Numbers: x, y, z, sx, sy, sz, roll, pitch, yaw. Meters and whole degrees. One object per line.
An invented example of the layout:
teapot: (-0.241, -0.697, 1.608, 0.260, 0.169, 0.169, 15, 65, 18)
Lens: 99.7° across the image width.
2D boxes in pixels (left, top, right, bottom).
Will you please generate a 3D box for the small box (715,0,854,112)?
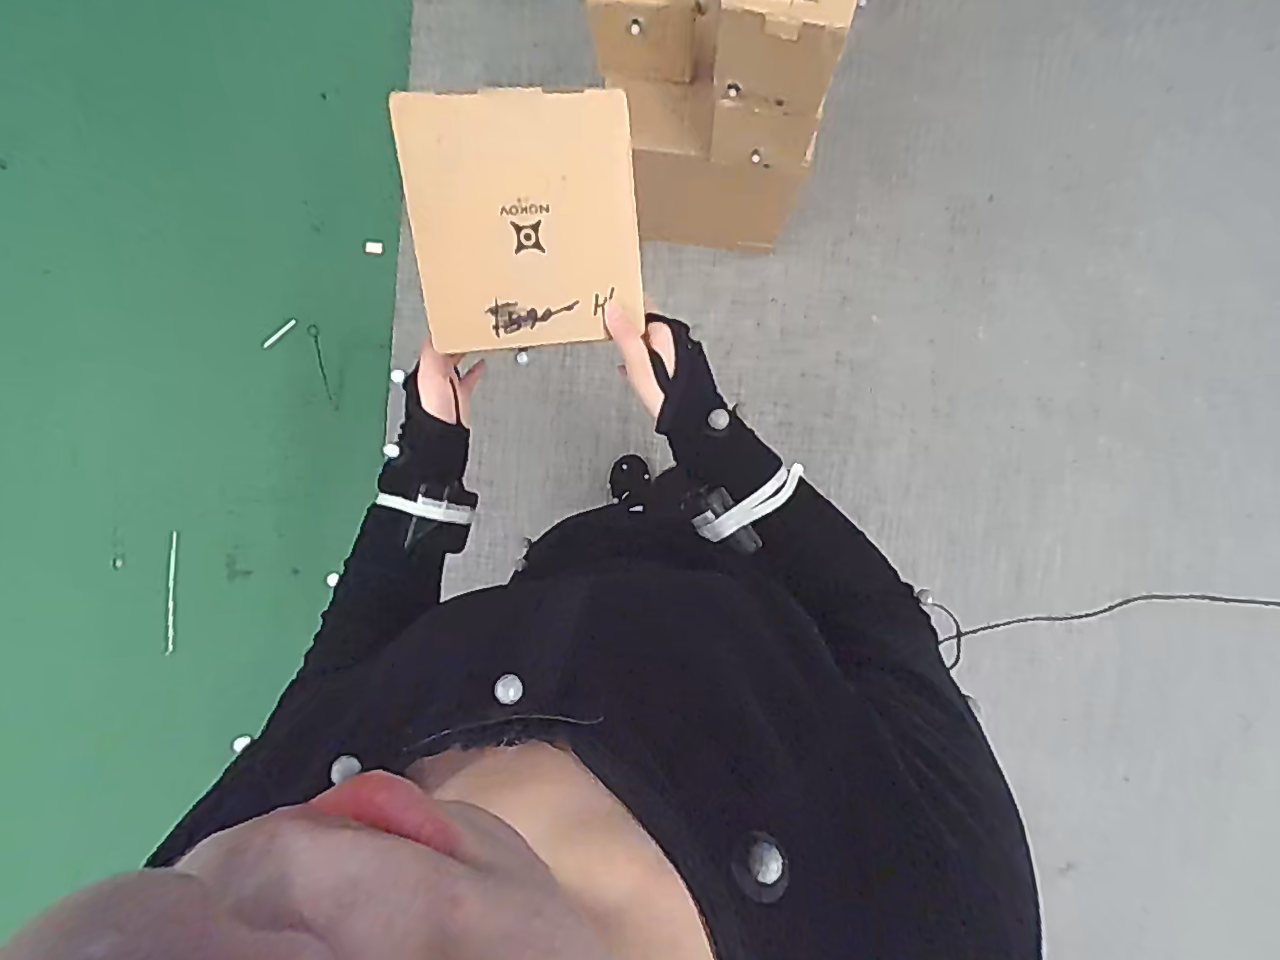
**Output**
small box: (0.203, -0.653, 0.741, 0.168, 0.176, 0.179, 15, 91, 4)

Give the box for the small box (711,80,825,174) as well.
small box: (0.216, -0.654, 0.905, 0.168, 0.176, 0.179, 12, 92, 4)

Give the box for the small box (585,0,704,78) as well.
small box: (0.016, -0.822, 0.914, 0.179, 0.176, 0.168, 9, 92, 5)

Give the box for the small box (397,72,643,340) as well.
small box: (-0.095, -0.220, 0.476, 0.168, 0.176, 0.179, -6, 104, -7)
